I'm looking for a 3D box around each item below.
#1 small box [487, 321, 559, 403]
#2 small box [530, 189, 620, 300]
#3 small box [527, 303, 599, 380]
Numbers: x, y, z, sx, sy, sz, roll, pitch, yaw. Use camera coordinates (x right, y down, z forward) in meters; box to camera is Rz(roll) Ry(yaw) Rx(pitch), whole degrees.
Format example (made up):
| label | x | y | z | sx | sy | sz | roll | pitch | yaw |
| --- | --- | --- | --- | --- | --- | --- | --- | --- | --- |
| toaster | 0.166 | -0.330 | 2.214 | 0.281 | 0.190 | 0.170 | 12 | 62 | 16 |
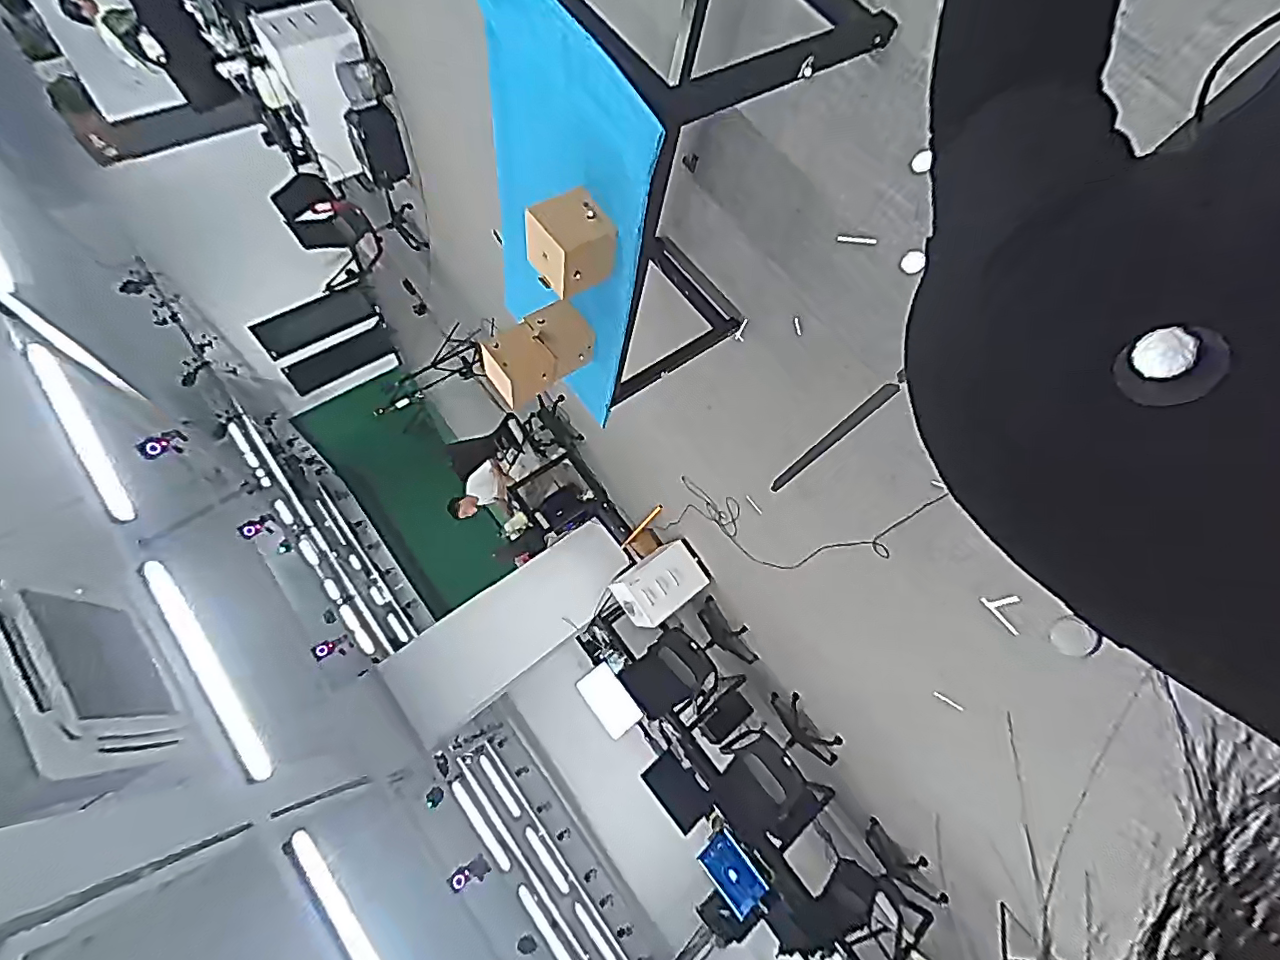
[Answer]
| label | x | y | z | sx | sy | sz | roll | pitch | yaw |
| --- | --- | --- | --- | --- | --- | --- | --- | --- | --- |
| small box | -0.385 | -0.380 | 1.771 | 0.168 | 0.176 | 0.179 | 52 | 158 | 11 |
| small box | -0.170 | -0.616 | 1.418 | 0.168 | 0.176 | 0.179 | 51 | 159 | 12 |
| small box | -0.263 | -0.476 | 1.835 | 0.179 | 0.176 | 0.168 | 50 | 160 | 9 |
